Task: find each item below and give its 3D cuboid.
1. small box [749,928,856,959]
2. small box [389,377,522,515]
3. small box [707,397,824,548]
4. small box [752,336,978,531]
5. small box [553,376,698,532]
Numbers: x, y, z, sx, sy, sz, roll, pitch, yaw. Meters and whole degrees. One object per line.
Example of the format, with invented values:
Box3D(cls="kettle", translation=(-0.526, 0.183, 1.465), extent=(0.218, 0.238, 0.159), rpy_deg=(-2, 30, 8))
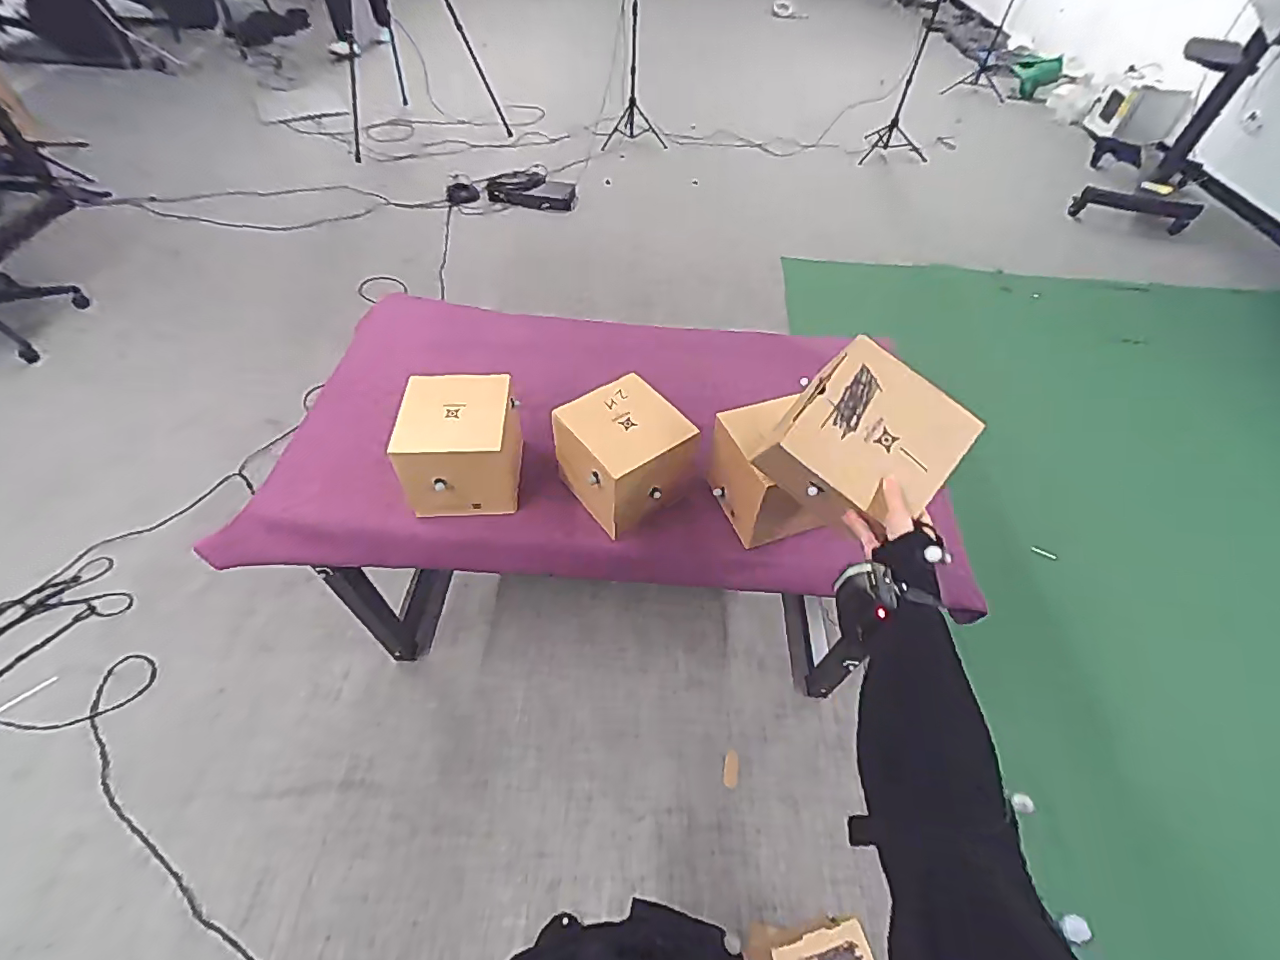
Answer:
Box3D(cls="small box", translation=(0.302, 0.993, 1.041), extent=(0.179, 0.176, 0.168), rpy_deg=(12, 52, 7))
Box3D(cls="small box", translation=(-0.295, -0.051, 0.906), extent=(0.168, 0.176, 0.179), rpy_deg=(-2, 50, -5))
Box3D(cls="small box", translation=(0.229, -0.012, 0.905), extent=(0.179, 0.176, 0.168), rpy_deg=(-15, 51, -14))
Box3D(cls="small box", translation=(0.269, -0.045, 0.694), extent=(0.179, 0.176, 0.168), rpy_deg=(39, 85, 4))
Box3D(cls="small box", translation=(-0.026, -0.036, 0.907), extent=(0.168, 0.176, 0.179), rpy_deg=(-29, 58, -25))
